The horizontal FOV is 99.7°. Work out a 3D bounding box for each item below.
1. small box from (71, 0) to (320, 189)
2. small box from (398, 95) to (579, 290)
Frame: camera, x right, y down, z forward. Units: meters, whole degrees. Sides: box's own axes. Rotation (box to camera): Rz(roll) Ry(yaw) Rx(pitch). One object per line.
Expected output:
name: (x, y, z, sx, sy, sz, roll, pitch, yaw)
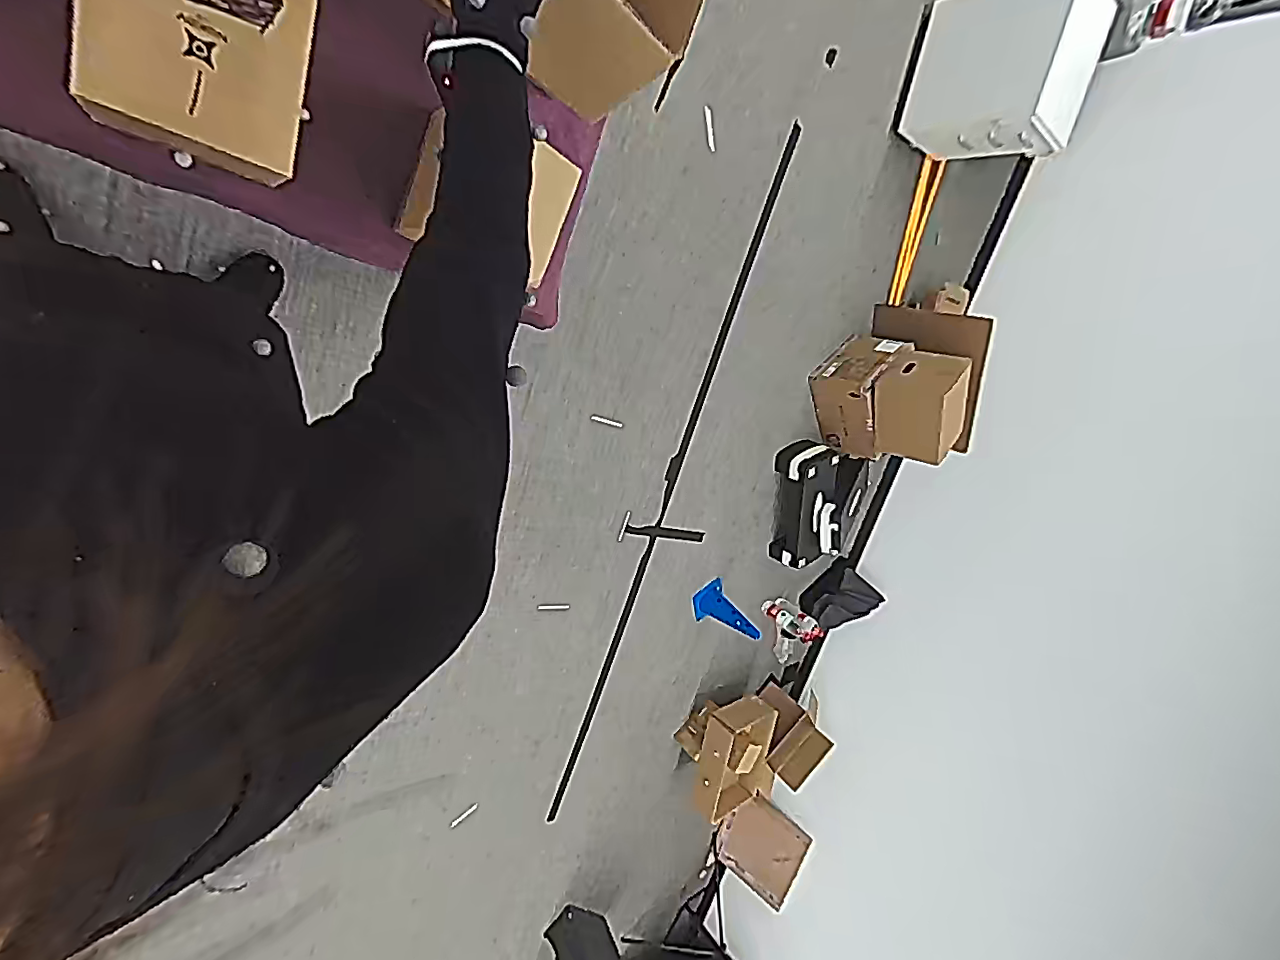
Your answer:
small box: (-0.452, -0.427, 0.559, 0.168, 0.176, 0.179, 7, 106, -41)
small box: (-0.220, -0.394, 0.768, 0.168, 0.176, 0.179, 17, 98, -42)
